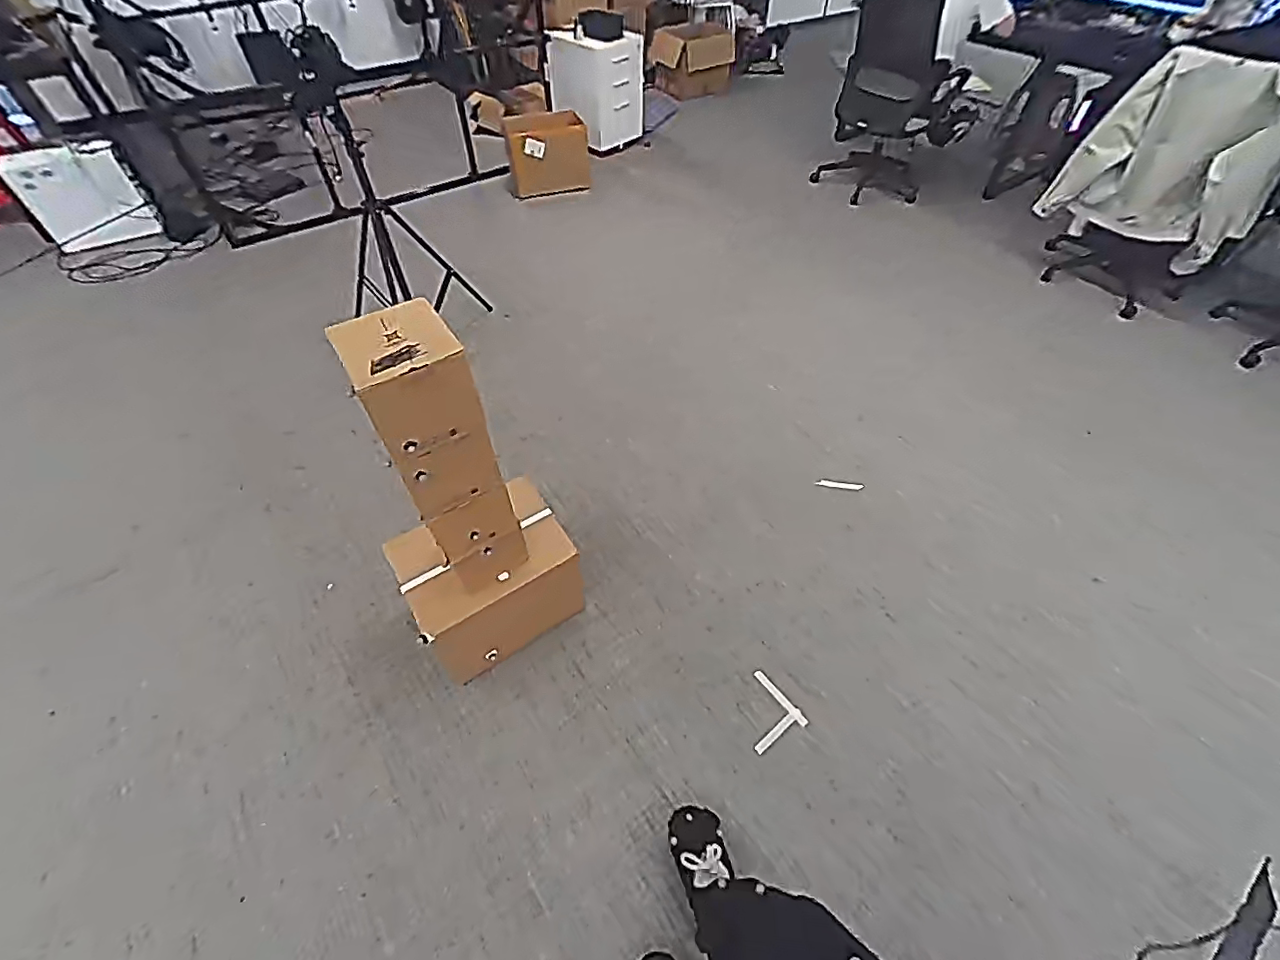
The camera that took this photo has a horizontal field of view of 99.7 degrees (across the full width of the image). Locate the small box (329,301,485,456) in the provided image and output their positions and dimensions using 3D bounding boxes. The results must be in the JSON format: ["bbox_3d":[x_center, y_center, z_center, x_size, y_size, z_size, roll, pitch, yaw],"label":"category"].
[{"bbox_3d":[-0.379,-0.162,0.903,0.168,0.176,0.179,-28,57,-21],"label":"small box"}]

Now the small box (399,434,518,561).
[{"bbox_3d":[-0.384,0.040,1.161,0.168,0.176,0.179,-30,59,-22],"label":"small box"}]

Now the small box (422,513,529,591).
[{"bbox_3d":[-0.386,0.134,1.294,0.179,0.176,0.168,-30,58,-23],"label":"small box"}]
